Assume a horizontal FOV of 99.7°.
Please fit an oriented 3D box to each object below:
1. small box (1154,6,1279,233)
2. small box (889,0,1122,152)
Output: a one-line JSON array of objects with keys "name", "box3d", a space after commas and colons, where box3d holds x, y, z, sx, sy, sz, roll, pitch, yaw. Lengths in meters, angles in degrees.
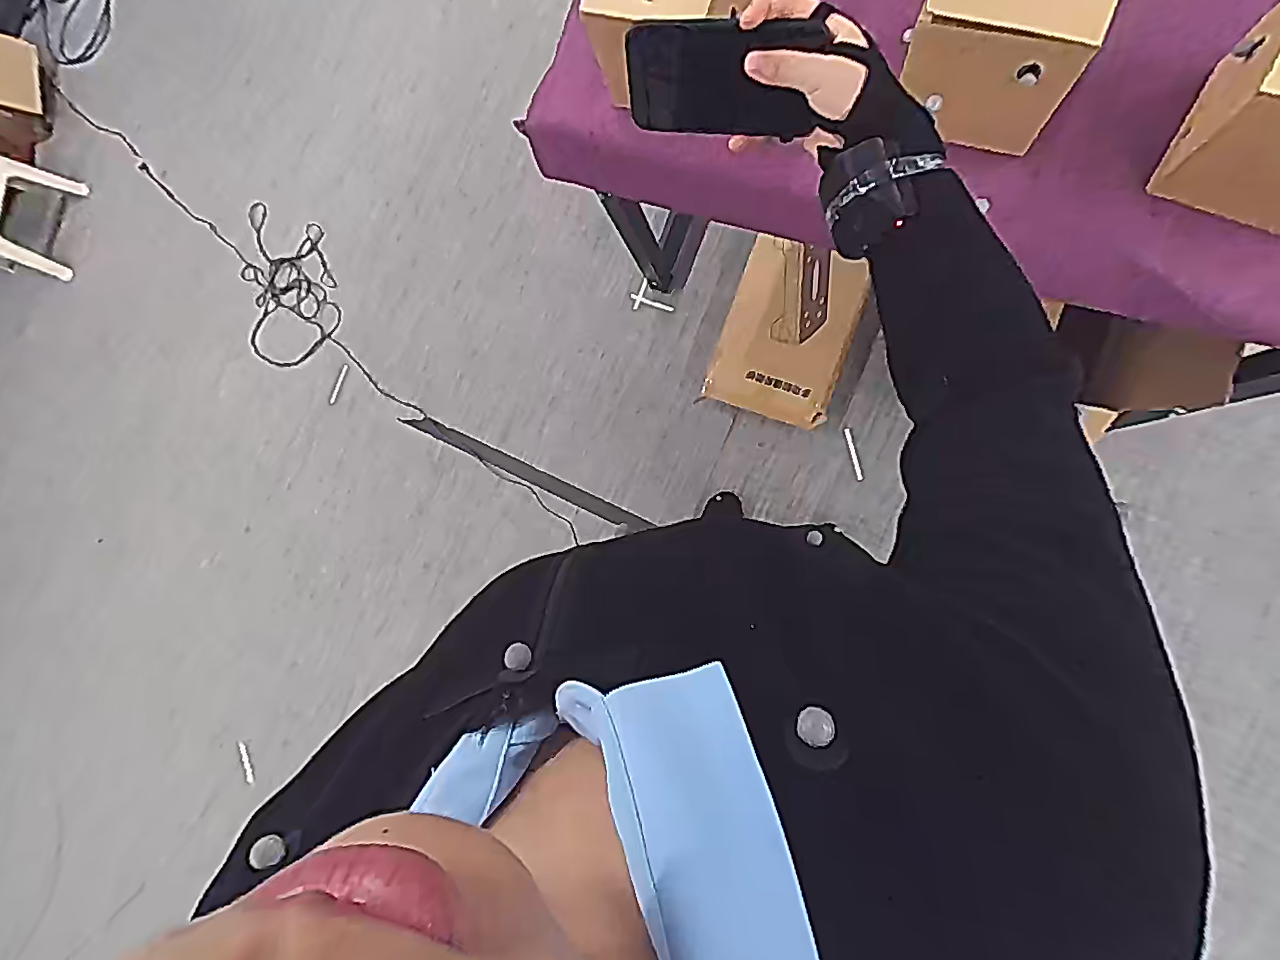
[{"name": "small box", "box3d": [0.695, -0.382, 0.545, 0.179, 0.176, 0.168, 28, 94, 13]}, {"name": "small box", "box3d": [0.416, -0.516, 0.620, 0.179, 0.176, 0.168, 21, 90, 14]}]
